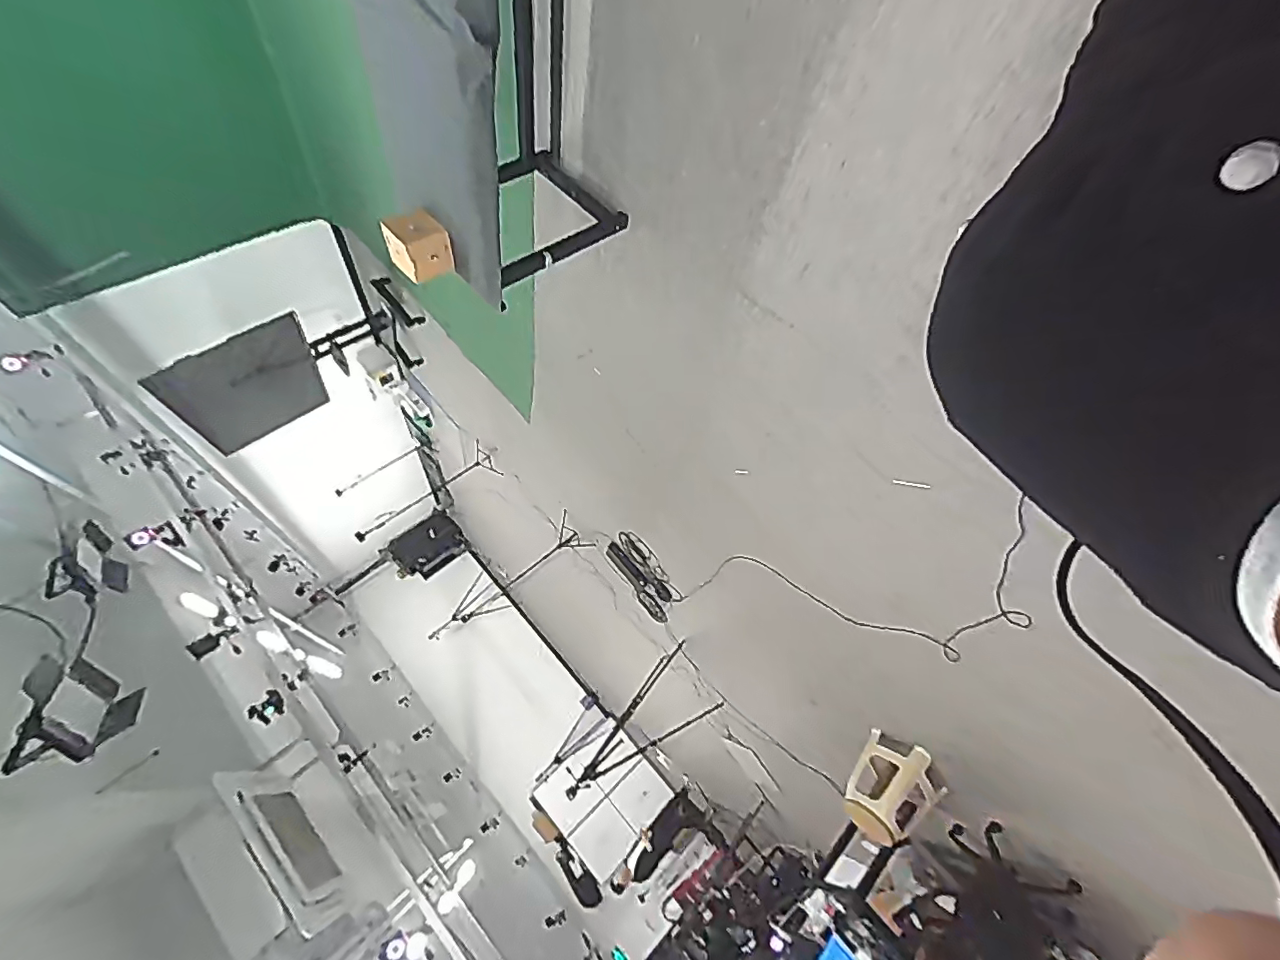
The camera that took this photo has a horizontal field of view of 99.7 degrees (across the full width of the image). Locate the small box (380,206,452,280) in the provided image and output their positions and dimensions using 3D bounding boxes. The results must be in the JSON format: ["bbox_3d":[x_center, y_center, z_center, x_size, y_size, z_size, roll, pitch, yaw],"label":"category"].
[{"bbox_3d":[-0.816,-0.882,1.999,0.179,0.176,0.168,43,153,18],"label":"small box"}]
